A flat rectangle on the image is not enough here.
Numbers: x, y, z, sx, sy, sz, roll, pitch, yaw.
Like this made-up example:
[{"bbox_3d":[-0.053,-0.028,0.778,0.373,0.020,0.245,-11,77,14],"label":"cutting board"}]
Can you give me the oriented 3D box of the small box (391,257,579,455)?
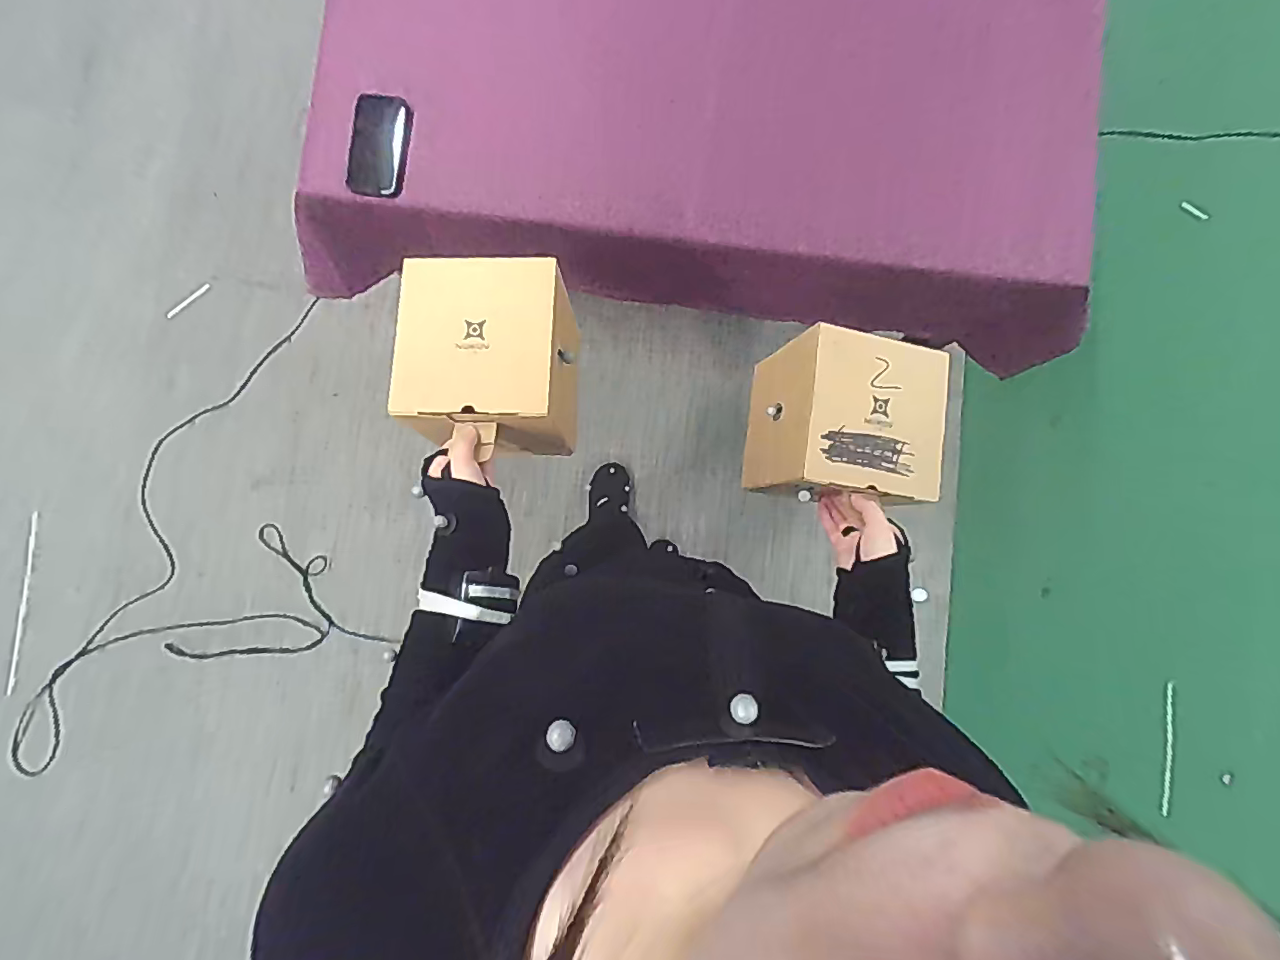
[{"bbox_3d":[-0.165,-0.135,0.634,0.168,0.176,0.179,1,80,2],"label":"small box"}]
